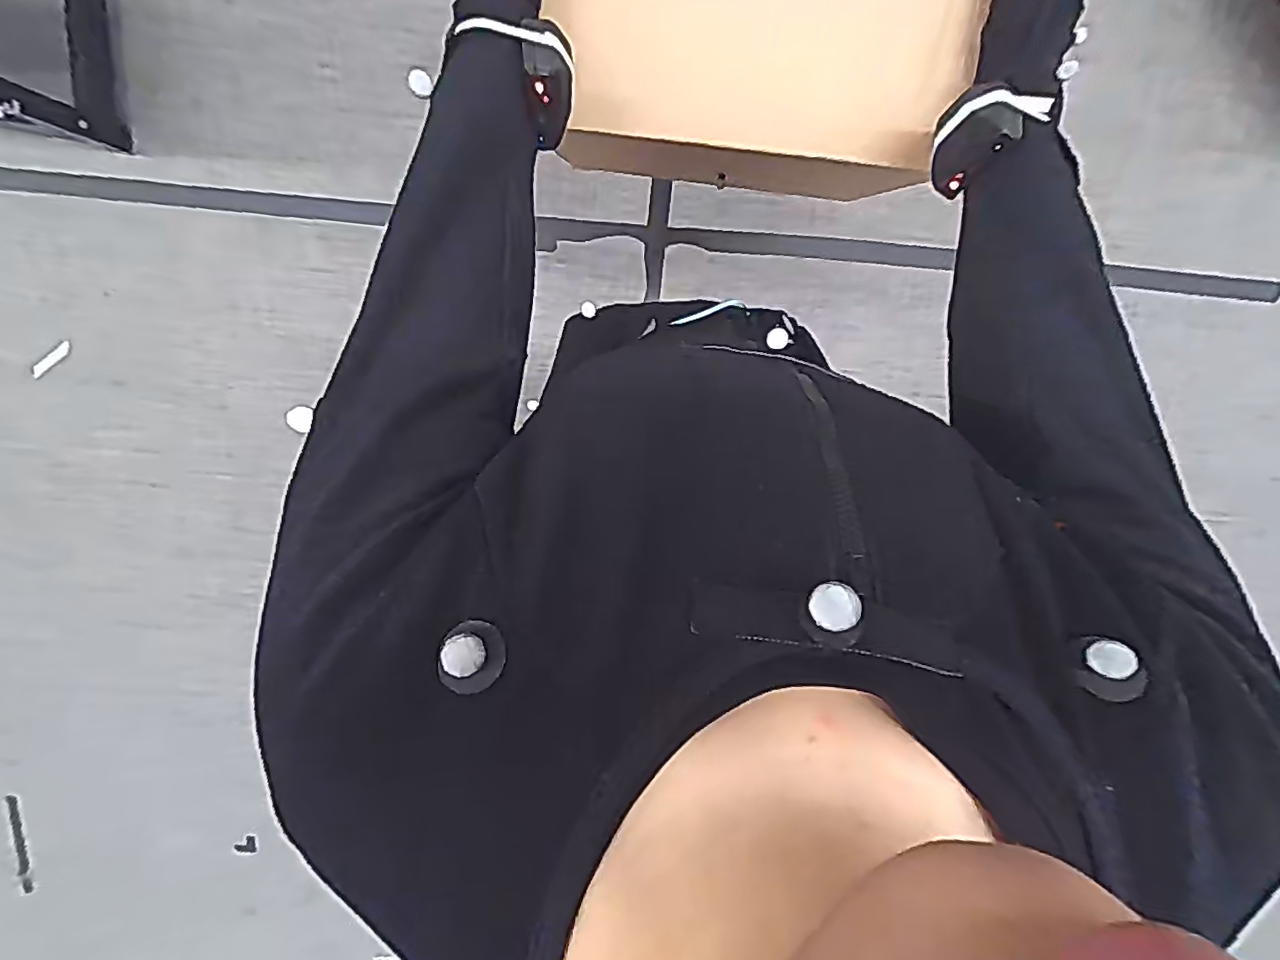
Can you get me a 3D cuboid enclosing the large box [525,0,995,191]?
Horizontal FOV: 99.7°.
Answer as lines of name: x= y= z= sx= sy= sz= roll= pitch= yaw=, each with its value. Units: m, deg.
large box: x=0.112 y=-0.508 z=0.577 sx=0.408 sy=0.320 sz=0.320 roll=7 pitch=113 yaw=-1
